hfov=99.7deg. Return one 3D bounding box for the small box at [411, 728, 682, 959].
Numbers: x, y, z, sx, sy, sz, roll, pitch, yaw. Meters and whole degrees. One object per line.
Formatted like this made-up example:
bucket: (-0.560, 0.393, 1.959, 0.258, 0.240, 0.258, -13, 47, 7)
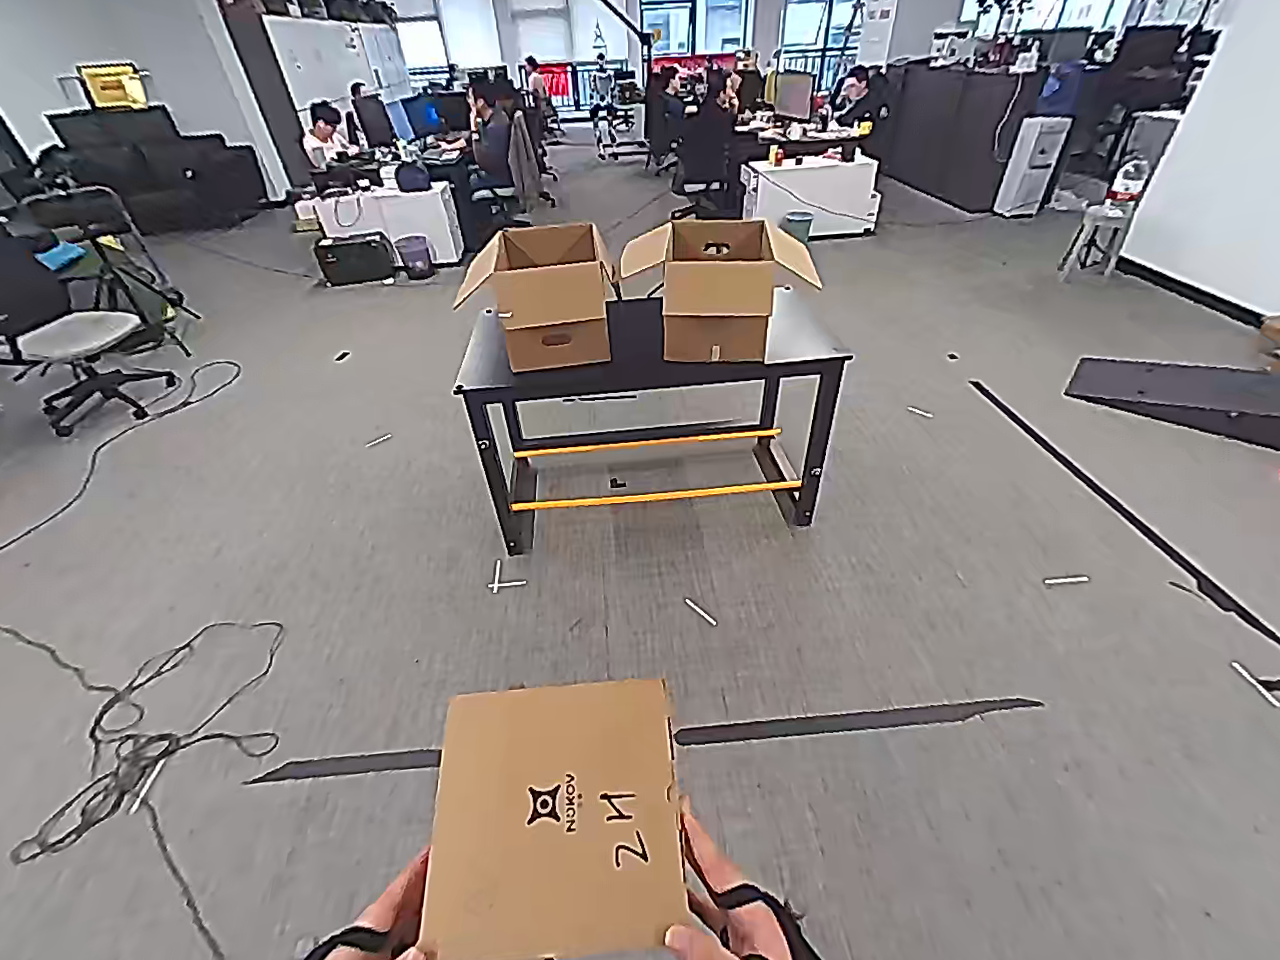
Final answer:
small box: (-0.060, 0.311, 0.436, 0.179, 0.176, 0.168, -4, 55, -1)
